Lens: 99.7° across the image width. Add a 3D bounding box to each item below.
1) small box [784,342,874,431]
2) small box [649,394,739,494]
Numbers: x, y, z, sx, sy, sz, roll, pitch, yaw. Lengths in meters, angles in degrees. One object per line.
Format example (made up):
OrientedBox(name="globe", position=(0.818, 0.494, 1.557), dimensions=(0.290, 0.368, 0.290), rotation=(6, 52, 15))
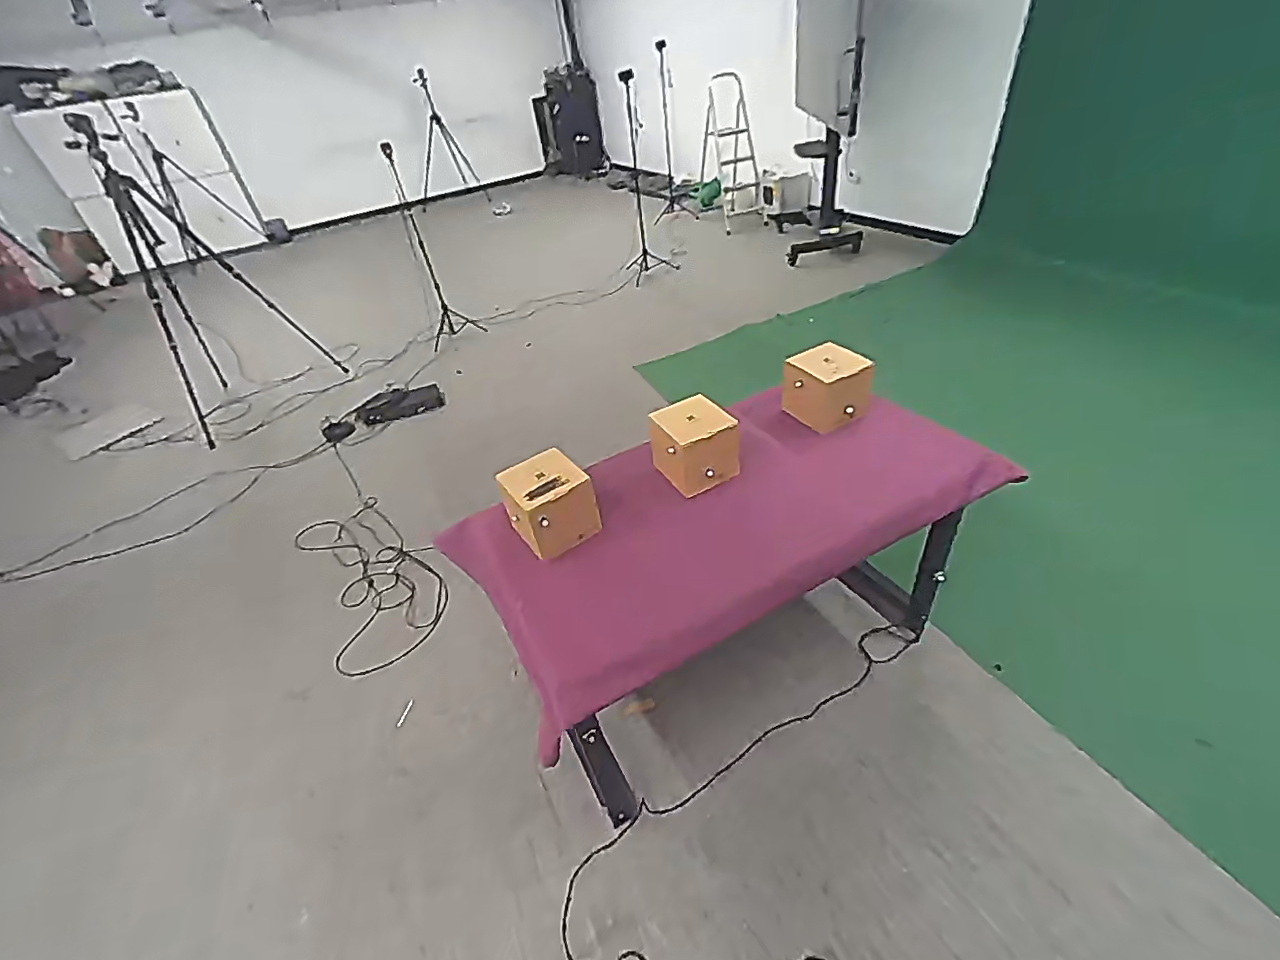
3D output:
OrientedBox(name="small box", position=(0.526, -0.264, 1.531), dimensions=(0.168, 0.176, 0.179), rotation=(-24, 42, -16))
OrientedBox(name="small box", position=(0.139, -0.094, 1.404), dimensions=(0.168, 0.176, 0.179), rotation=(-23, 43, -18))
